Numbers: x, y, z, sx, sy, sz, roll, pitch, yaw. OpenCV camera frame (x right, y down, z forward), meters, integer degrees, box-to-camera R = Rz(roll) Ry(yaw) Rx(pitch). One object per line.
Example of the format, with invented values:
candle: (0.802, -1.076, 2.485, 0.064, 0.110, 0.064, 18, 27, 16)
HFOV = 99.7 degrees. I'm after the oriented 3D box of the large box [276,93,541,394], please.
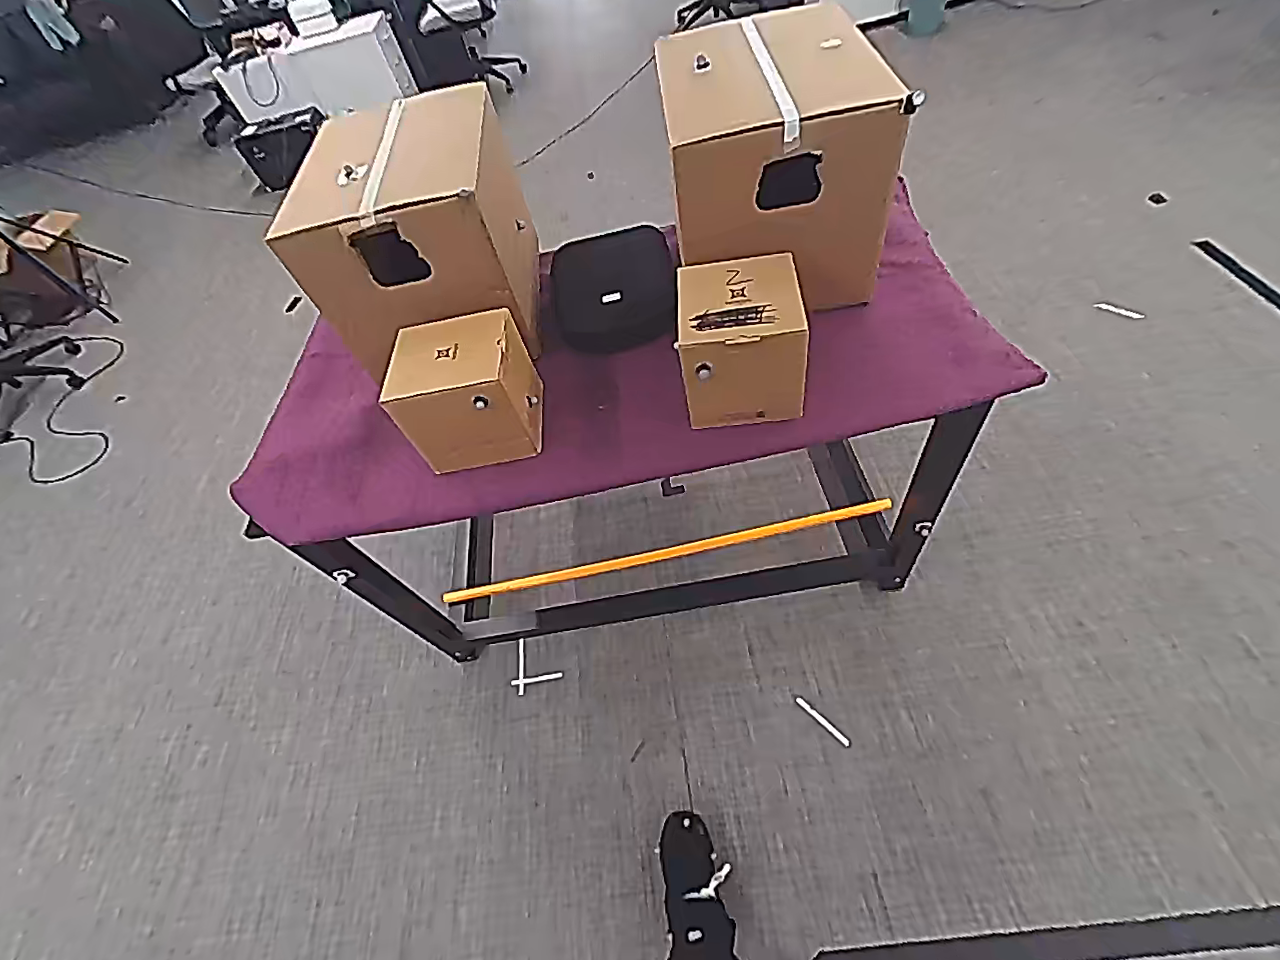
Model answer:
large box: (-0.380, -0.430, 0.996, 0.320, 0.320, 0.408, -12, 56, 4)
